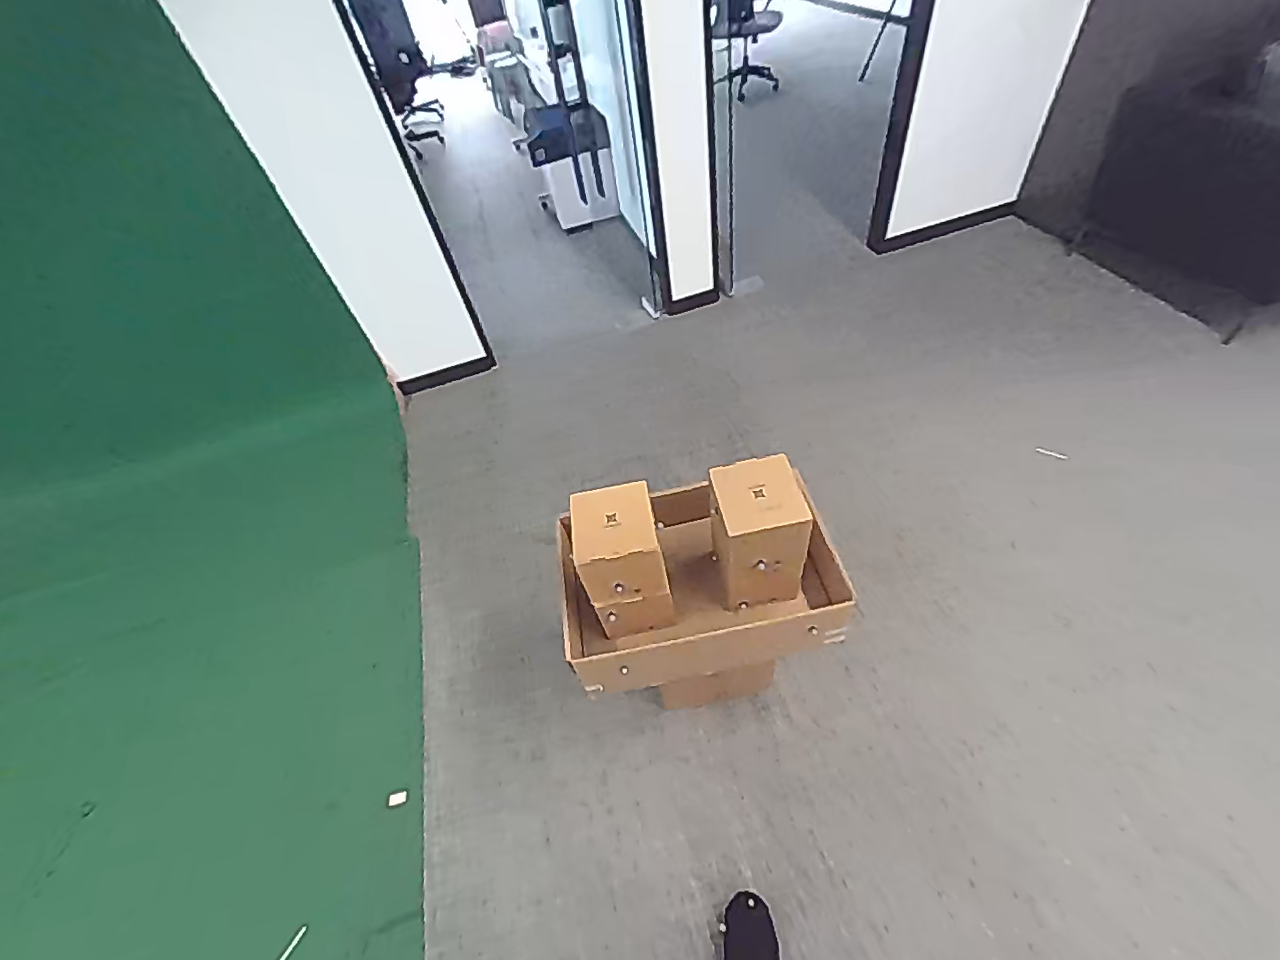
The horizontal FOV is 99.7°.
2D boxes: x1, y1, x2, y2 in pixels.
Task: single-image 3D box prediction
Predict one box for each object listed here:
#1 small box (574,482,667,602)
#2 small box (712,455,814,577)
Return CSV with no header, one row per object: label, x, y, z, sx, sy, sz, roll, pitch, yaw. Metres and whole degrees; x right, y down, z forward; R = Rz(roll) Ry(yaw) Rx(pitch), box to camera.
small box,-0.041,0.132,1.139,0.168,0.176,0.179,-10,49,1
small box,0.247,0.077,1.132,0.168,0.176,0.179,-11,50,1
